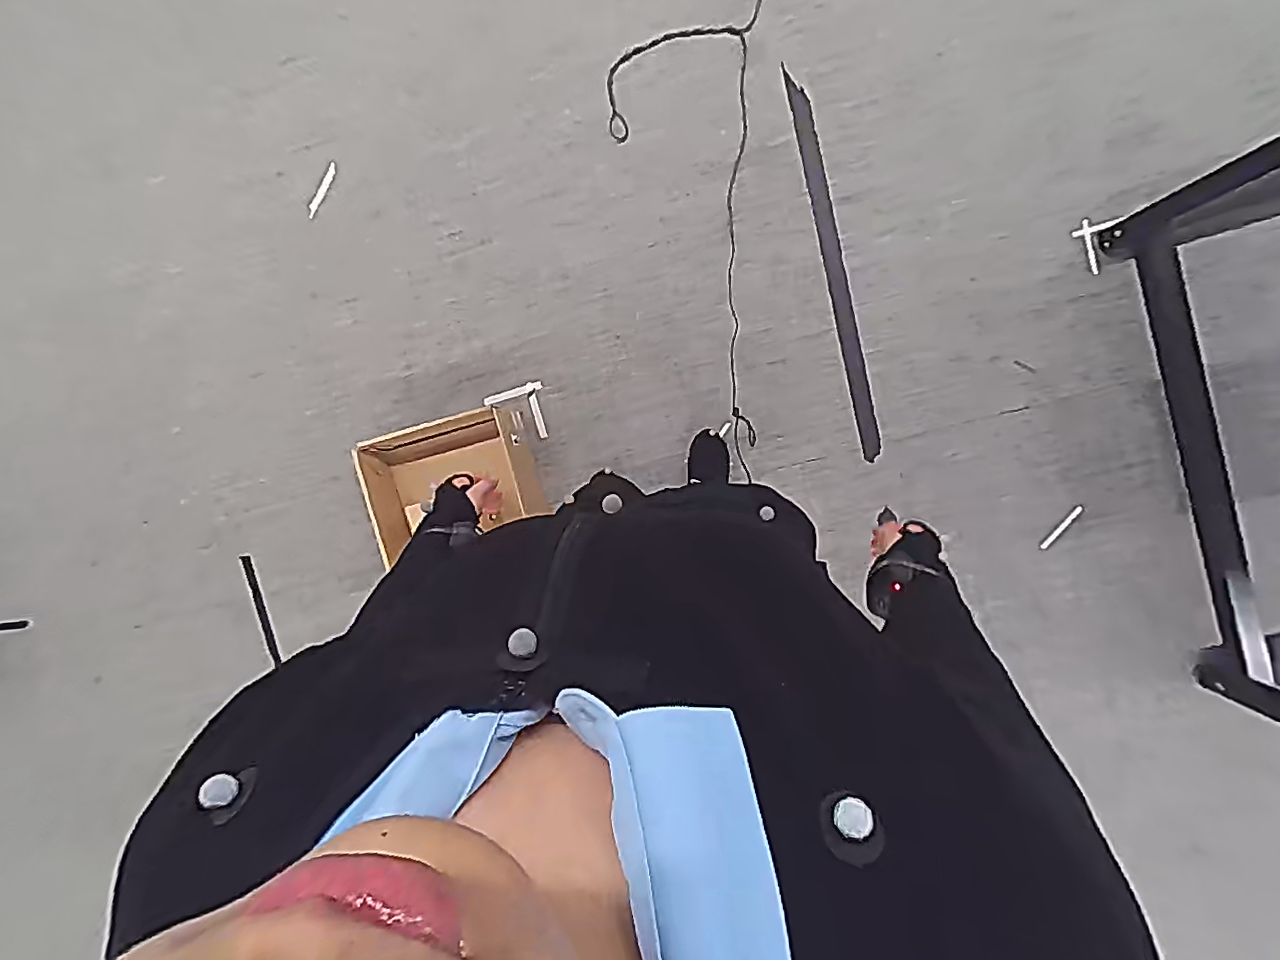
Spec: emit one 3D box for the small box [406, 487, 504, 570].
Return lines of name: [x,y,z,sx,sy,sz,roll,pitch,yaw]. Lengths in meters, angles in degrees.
small box: [-0.473,0.119,1.418,0.179,0.176,0.168,-16,92,6]
